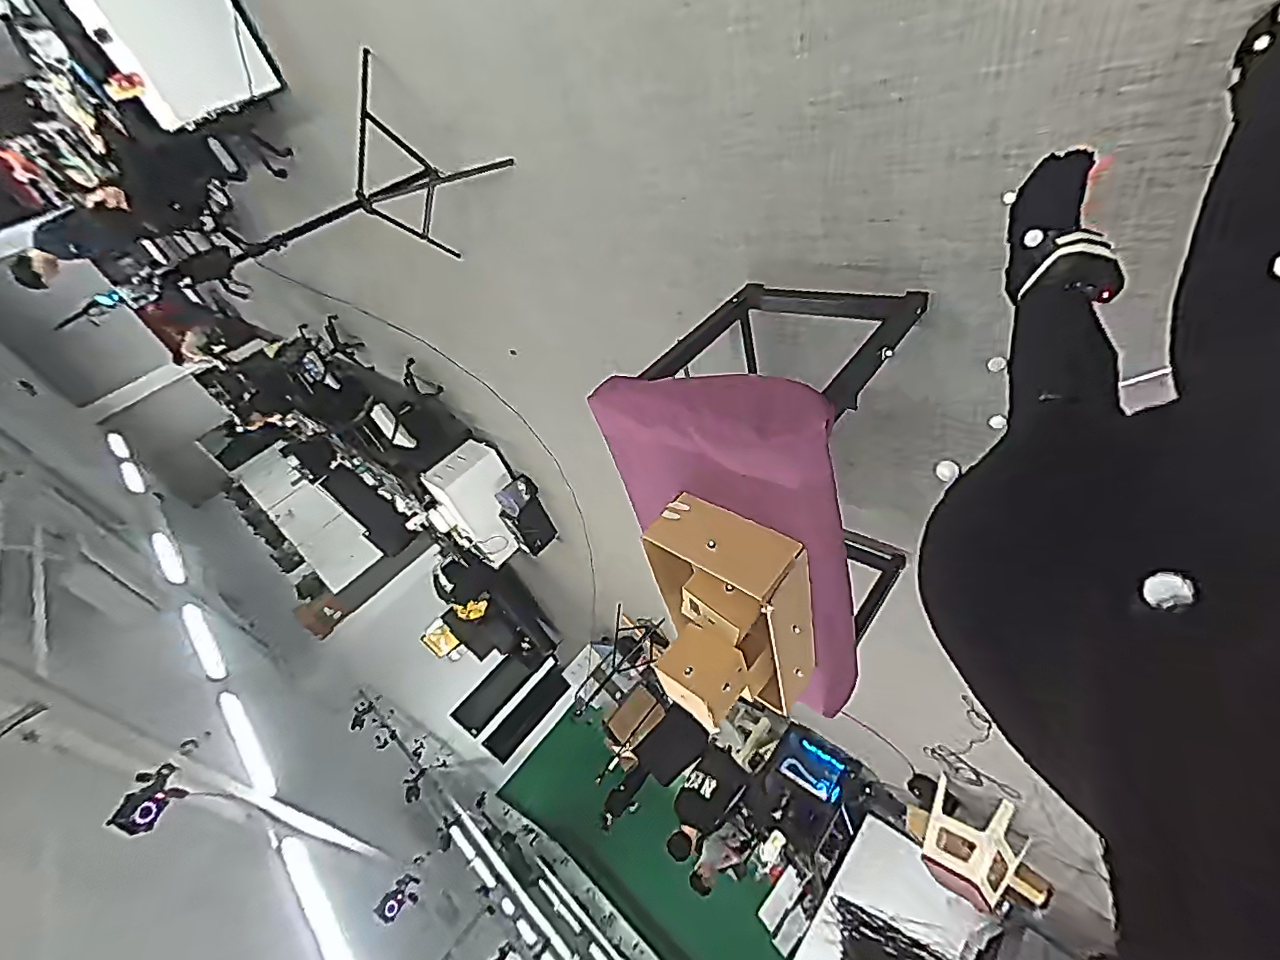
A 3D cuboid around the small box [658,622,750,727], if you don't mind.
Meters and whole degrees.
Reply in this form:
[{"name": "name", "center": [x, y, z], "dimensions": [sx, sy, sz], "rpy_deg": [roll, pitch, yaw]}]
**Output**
[{"name": "small box", "center": [0.181, 0.515, 1.454], "dimensions": [0.179, 0.176, 0.168], "rpy_deg": [24, 146, 41]}]
